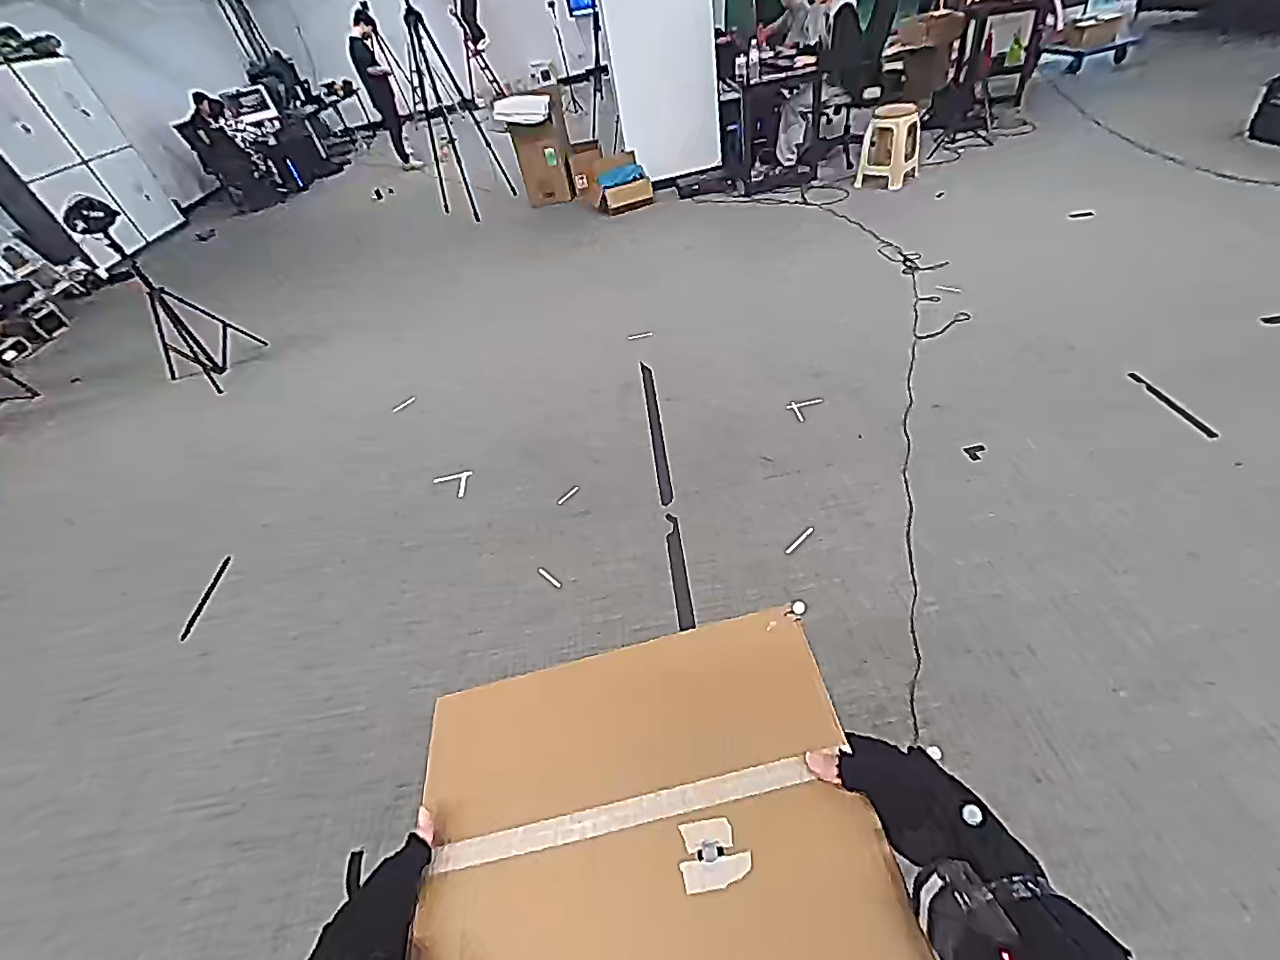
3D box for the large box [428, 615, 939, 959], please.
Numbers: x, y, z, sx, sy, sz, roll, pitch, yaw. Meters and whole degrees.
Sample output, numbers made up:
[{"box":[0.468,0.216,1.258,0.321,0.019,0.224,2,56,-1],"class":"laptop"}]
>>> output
[{"box":[0.033,0.406,0.597,0.408,0.320,0.320,-16,46,3],"class":"large box"}]
